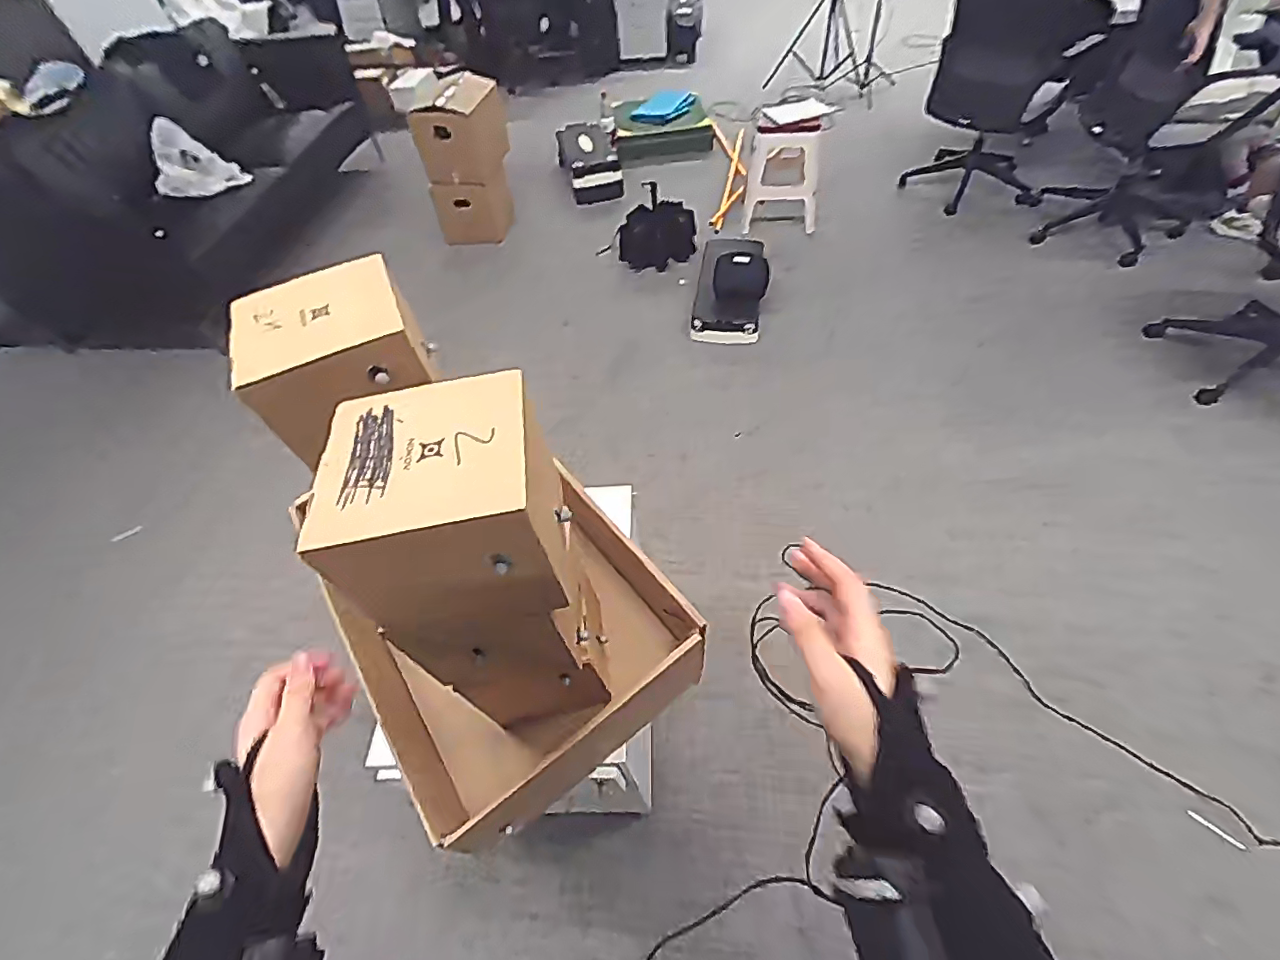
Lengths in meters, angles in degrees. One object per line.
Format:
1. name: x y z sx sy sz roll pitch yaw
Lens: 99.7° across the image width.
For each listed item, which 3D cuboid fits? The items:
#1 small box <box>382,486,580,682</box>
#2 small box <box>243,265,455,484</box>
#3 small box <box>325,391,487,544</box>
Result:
1. small box: -0.172 0.130 0.655 0.179 0.176 0.168 -8 50 3
2. small box: -0.346 -0.127 0.667 0.179 0.176 0.168 -24 54 -10
3. small box: -0.343 -0.036 0.806 0.168 0.176 0.179 -22 55 -7
